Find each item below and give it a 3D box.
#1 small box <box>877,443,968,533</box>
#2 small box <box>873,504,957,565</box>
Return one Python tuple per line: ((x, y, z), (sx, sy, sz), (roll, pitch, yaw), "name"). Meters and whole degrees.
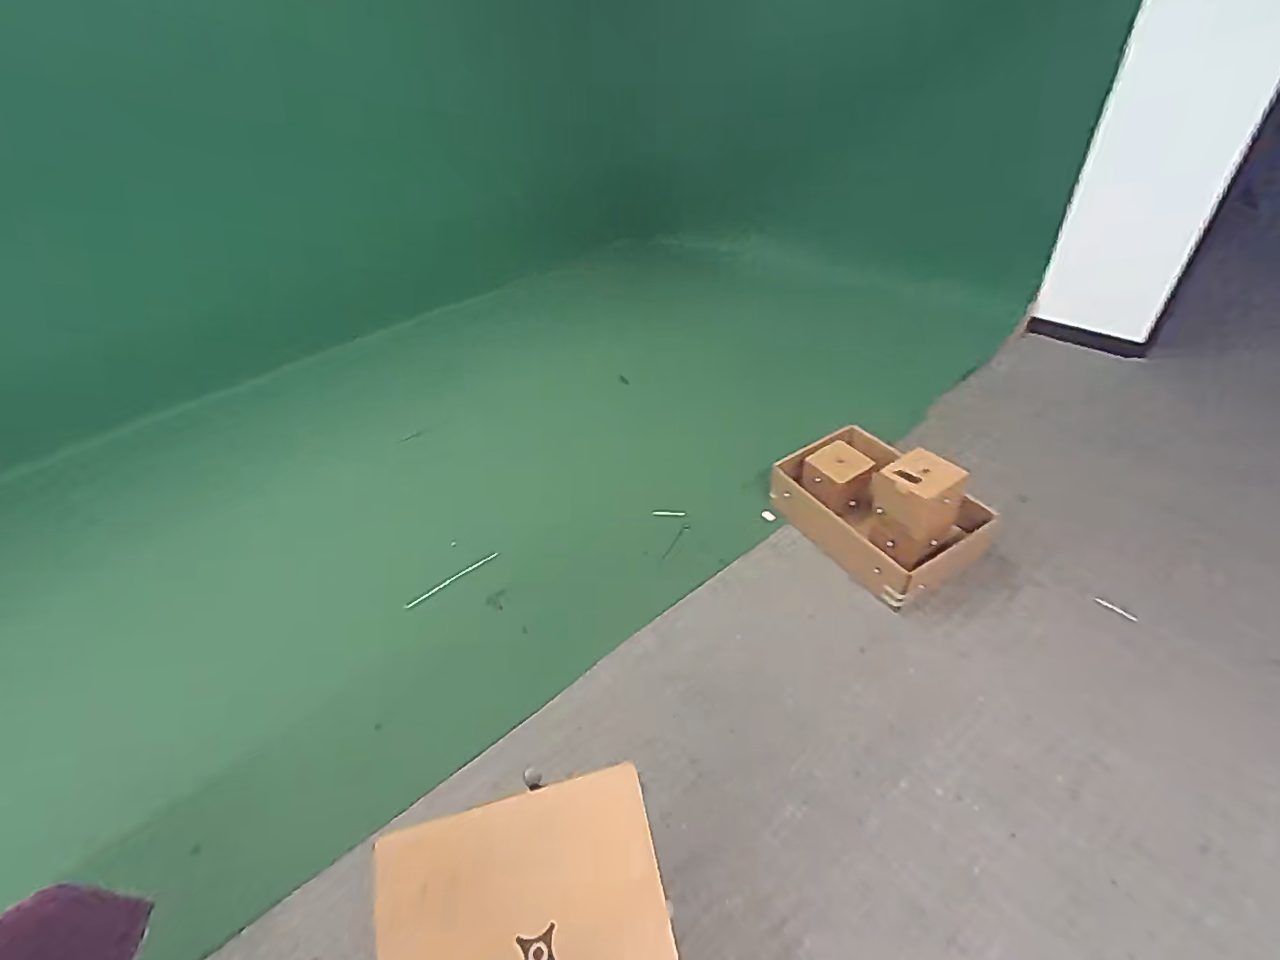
((0.828, 0.026, 1.606), (0.179, 0.176, 0.168), (-28, 43, -18), "small box")
((0.865, 0.139, 1.720), (0.179, 0.176, 0.168), (-30, 45, -18), "small box")
